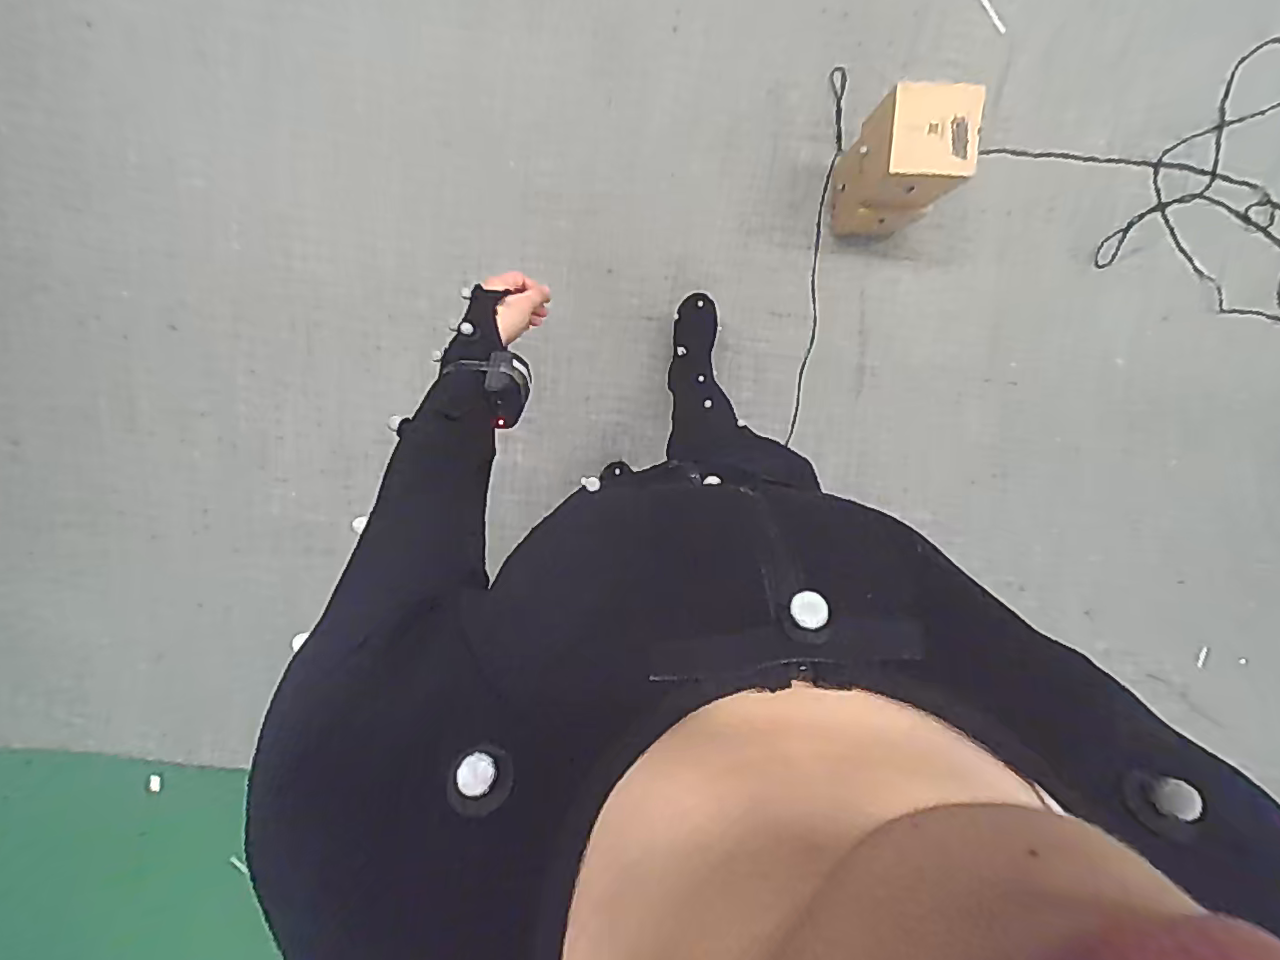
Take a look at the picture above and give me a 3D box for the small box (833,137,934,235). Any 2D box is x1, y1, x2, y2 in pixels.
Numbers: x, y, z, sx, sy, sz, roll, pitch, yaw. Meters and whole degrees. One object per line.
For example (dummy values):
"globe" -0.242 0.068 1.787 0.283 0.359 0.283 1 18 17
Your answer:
"small box" 0.571 -0.693 1.284 0.179 0.176 0.168 -2 99 -1

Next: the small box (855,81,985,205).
"small box" 0.570 -0.687 1.120 0.179 0.176 0.168 2 97 0
